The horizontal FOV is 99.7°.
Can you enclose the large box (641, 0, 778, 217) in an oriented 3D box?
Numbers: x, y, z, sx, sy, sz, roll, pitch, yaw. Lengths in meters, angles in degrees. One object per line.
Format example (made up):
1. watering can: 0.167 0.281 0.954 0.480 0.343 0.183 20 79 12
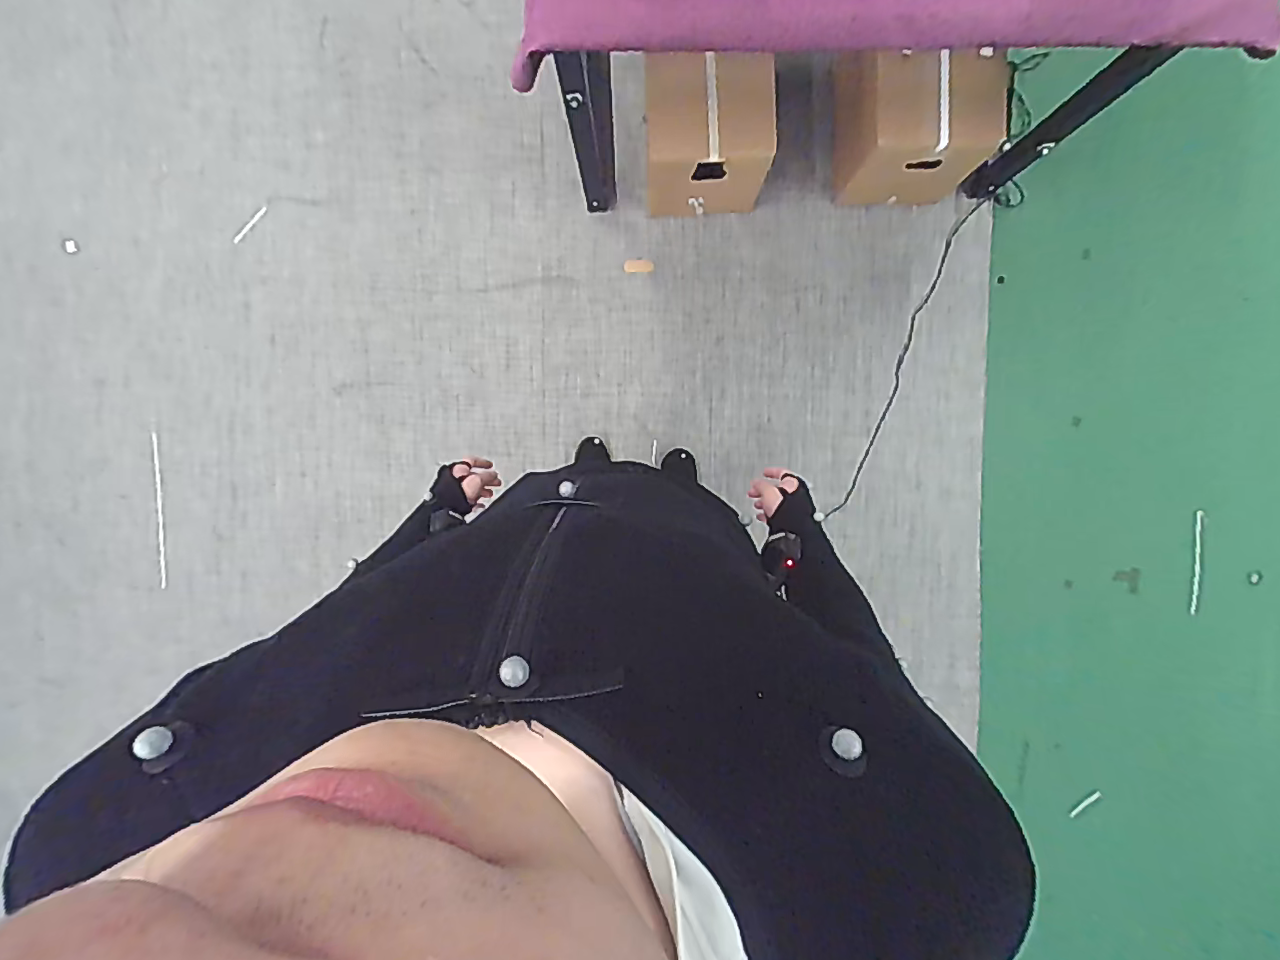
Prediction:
1. large box: 0.171 -0.980 1.445 0.320 0.320 0.408 -3 91 0
